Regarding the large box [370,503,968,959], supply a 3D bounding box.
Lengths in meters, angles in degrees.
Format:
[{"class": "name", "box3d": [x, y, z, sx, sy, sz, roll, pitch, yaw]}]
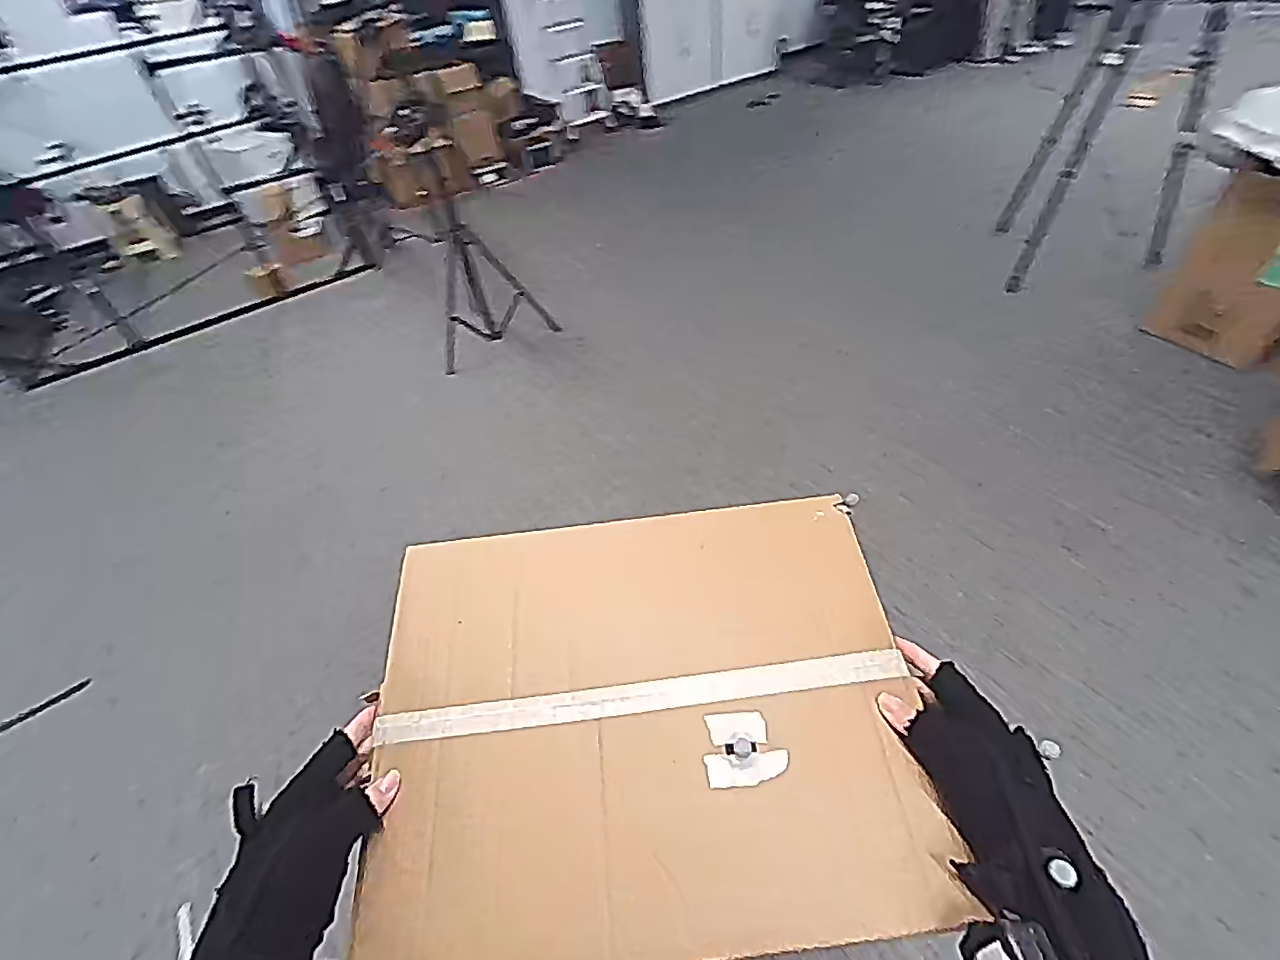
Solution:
[{"class": "large box", "box3d": [0.009, 0.257, 0.553, 0.408, 0.320, 0.320, -7, 56, -1]}]
